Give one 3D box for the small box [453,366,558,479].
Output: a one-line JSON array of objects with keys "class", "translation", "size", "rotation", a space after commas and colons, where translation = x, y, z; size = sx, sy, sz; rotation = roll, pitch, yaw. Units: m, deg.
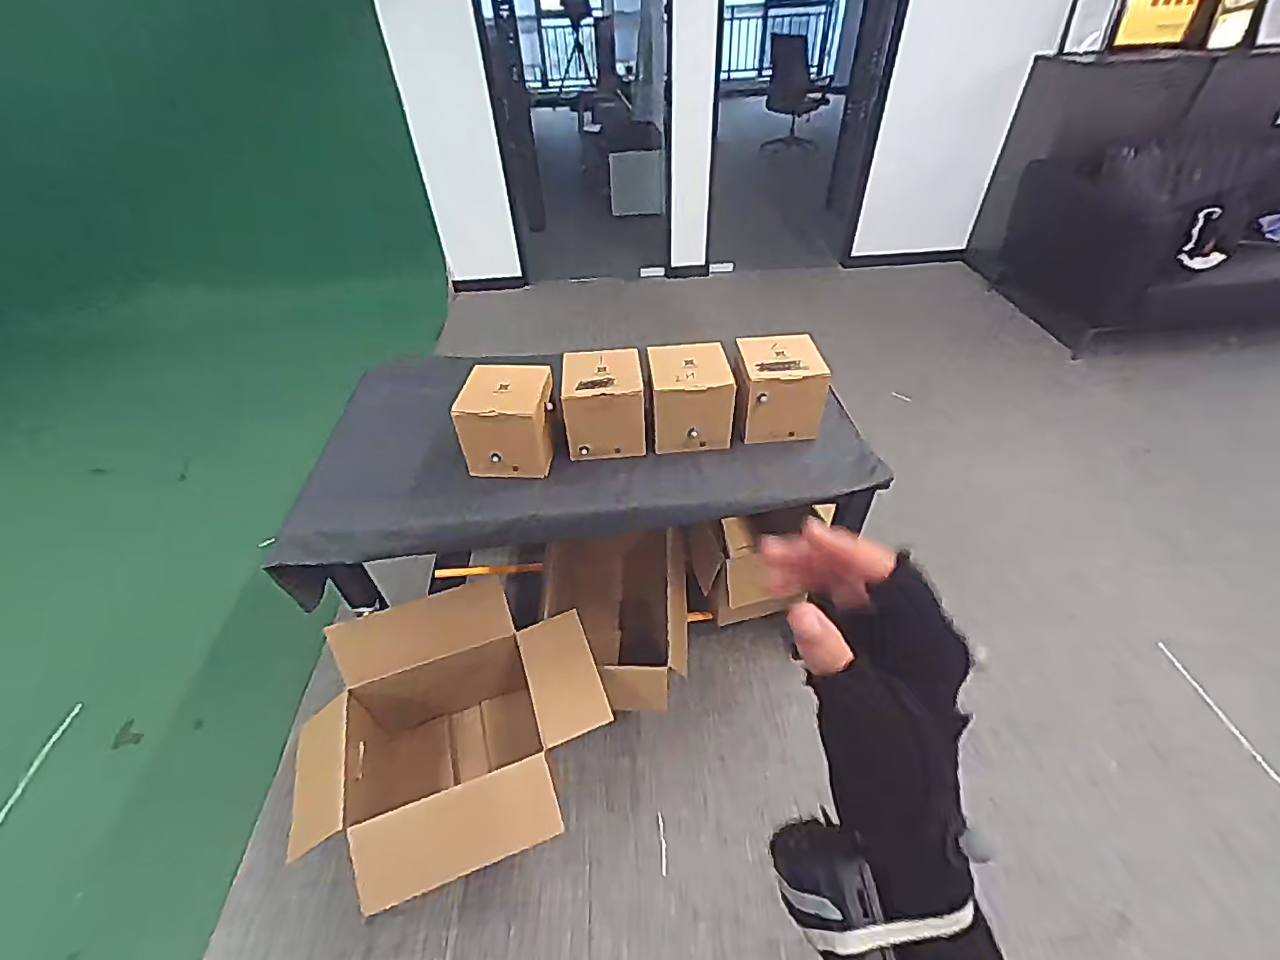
[{"class": "small box", "translation": [-0.275, -0.124, 1.149], "size": [0.168, 0.176, 0.179], "rotation": [2, 44, 4]}]
